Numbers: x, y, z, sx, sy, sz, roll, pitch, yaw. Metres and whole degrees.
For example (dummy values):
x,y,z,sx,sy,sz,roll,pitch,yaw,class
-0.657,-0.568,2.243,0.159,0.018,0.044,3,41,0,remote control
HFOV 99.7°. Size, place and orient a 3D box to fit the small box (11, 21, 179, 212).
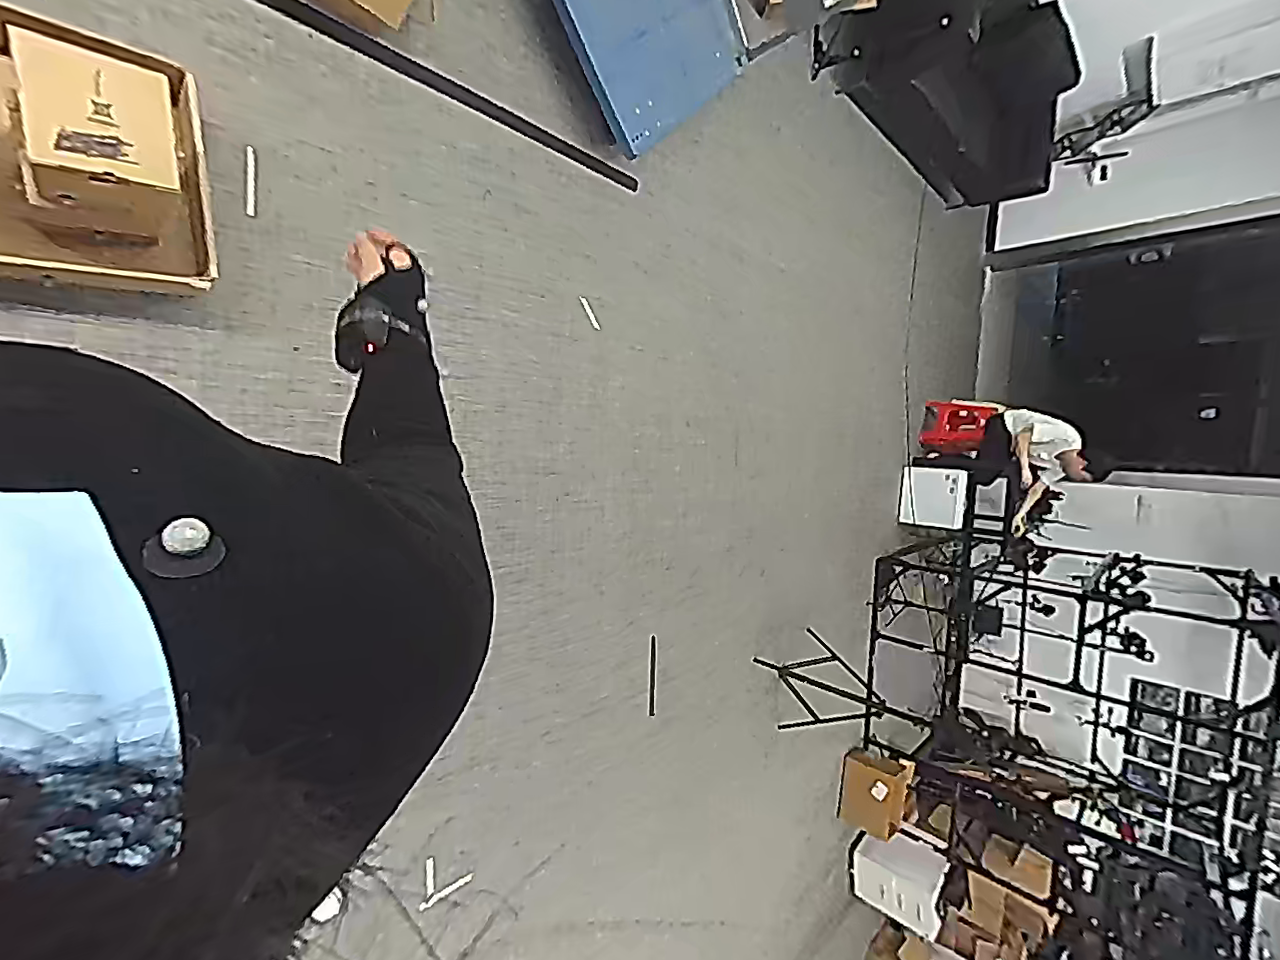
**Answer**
x,y,z,sx,sy,sz,roll,pitch,yaw,class
-0.843,-0.545,0.848,0.168,0.176,0.179,-7,99,-45,small box
